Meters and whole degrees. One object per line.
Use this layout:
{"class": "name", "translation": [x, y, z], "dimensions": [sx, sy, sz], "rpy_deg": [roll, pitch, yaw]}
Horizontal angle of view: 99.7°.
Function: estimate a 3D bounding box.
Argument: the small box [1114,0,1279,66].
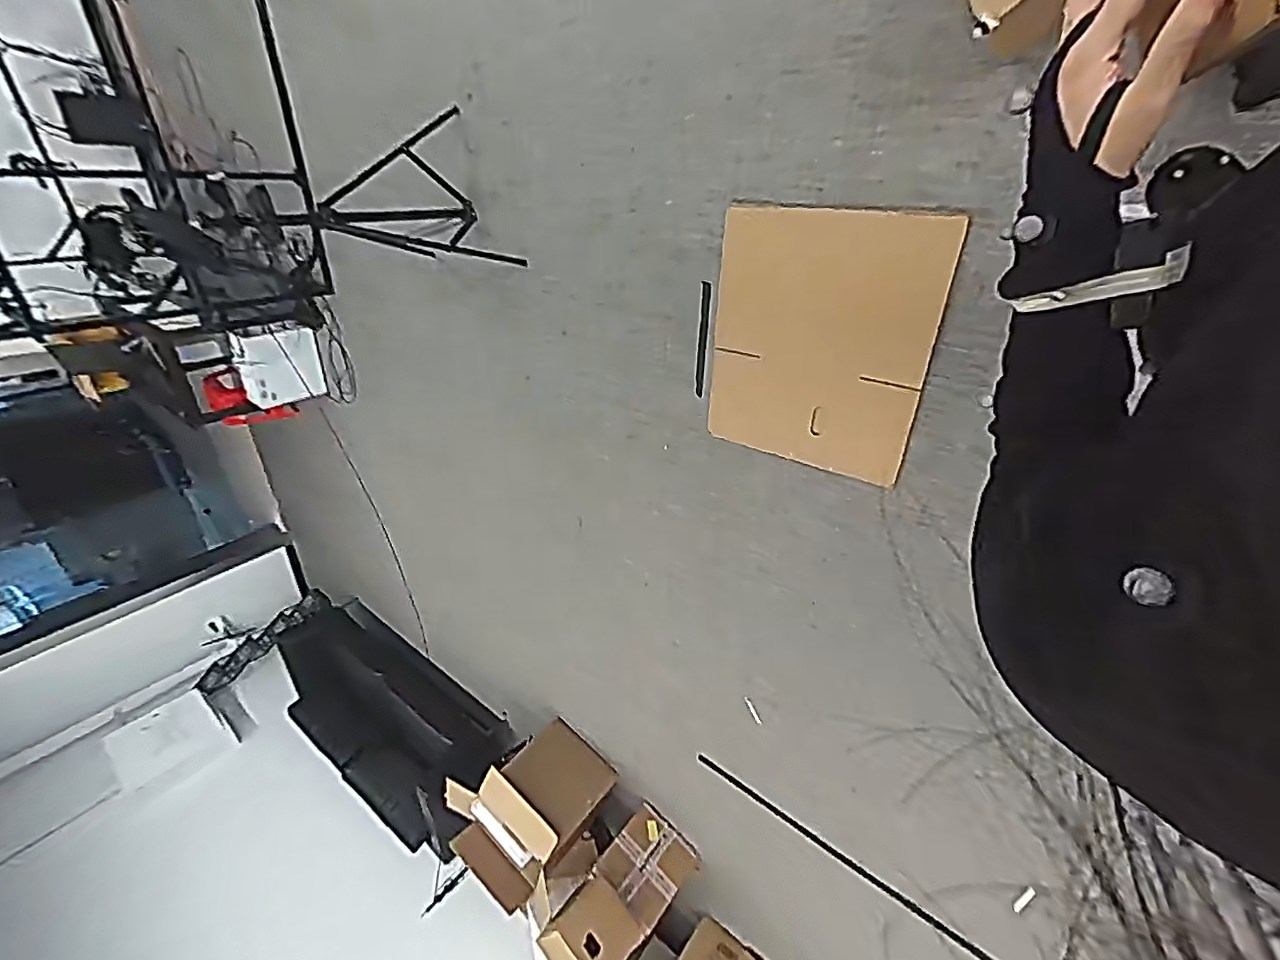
{"class": "small box", "translation": [0.335, -0.334, 0.246], "dimensions": [0.168, 0.176, 0.179], "rpy_deg": [-20, 100, 33]}
